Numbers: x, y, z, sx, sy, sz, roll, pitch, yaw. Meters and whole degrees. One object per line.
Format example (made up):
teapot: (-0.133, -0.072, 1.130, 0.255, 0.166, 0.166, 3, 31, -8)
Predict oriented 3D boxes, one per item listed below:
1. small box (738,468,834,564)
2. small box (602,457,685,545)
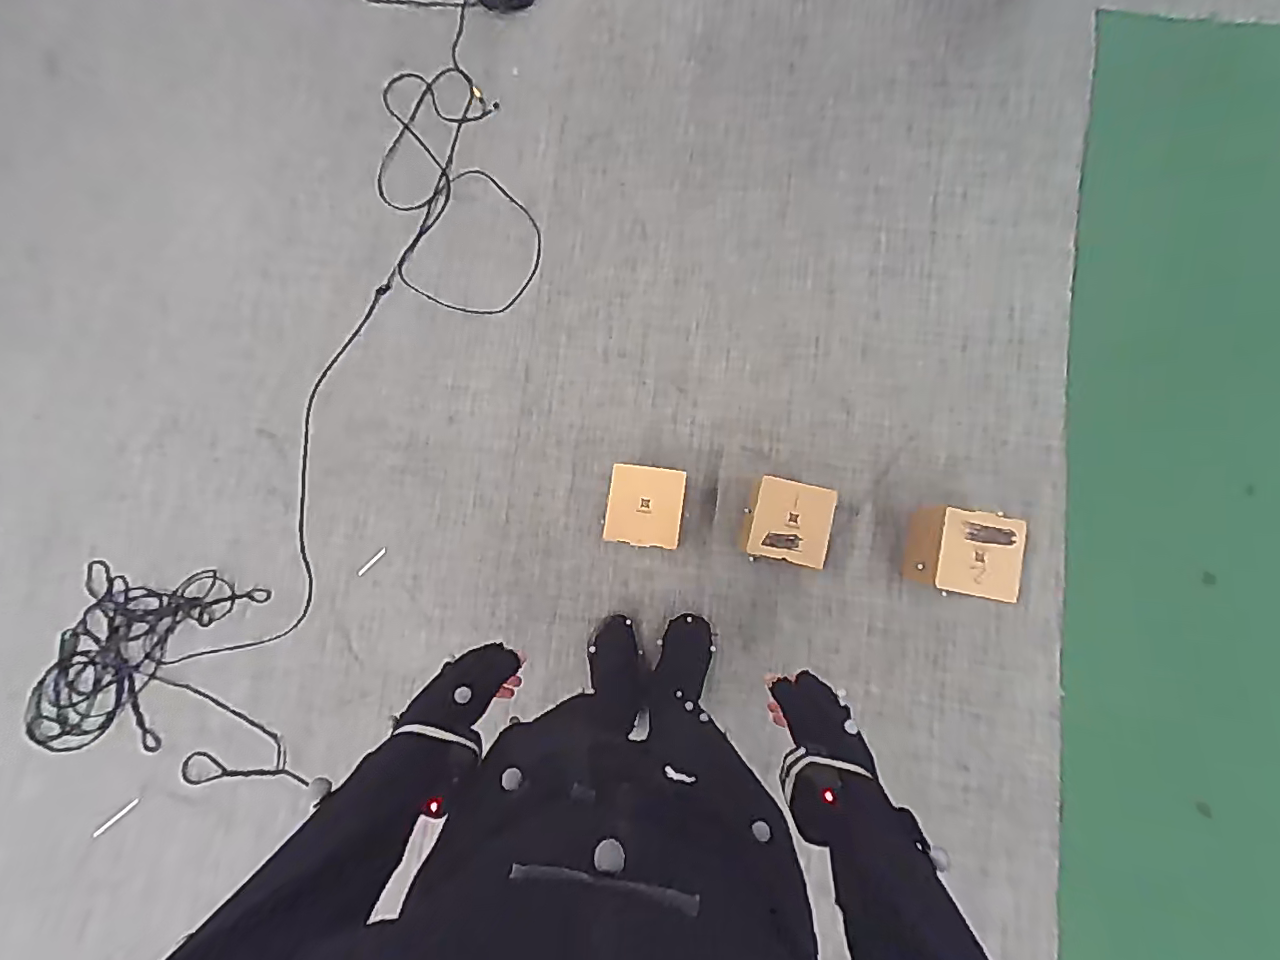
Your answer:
small box: (0.324, 0.087, 1.234, 0.168, 0.176, 0.179, 13, 83, 5)
small box: (0.013, 0.054, 1.263, 0.168, 0.176, 0.179, 7, 84, 6)
